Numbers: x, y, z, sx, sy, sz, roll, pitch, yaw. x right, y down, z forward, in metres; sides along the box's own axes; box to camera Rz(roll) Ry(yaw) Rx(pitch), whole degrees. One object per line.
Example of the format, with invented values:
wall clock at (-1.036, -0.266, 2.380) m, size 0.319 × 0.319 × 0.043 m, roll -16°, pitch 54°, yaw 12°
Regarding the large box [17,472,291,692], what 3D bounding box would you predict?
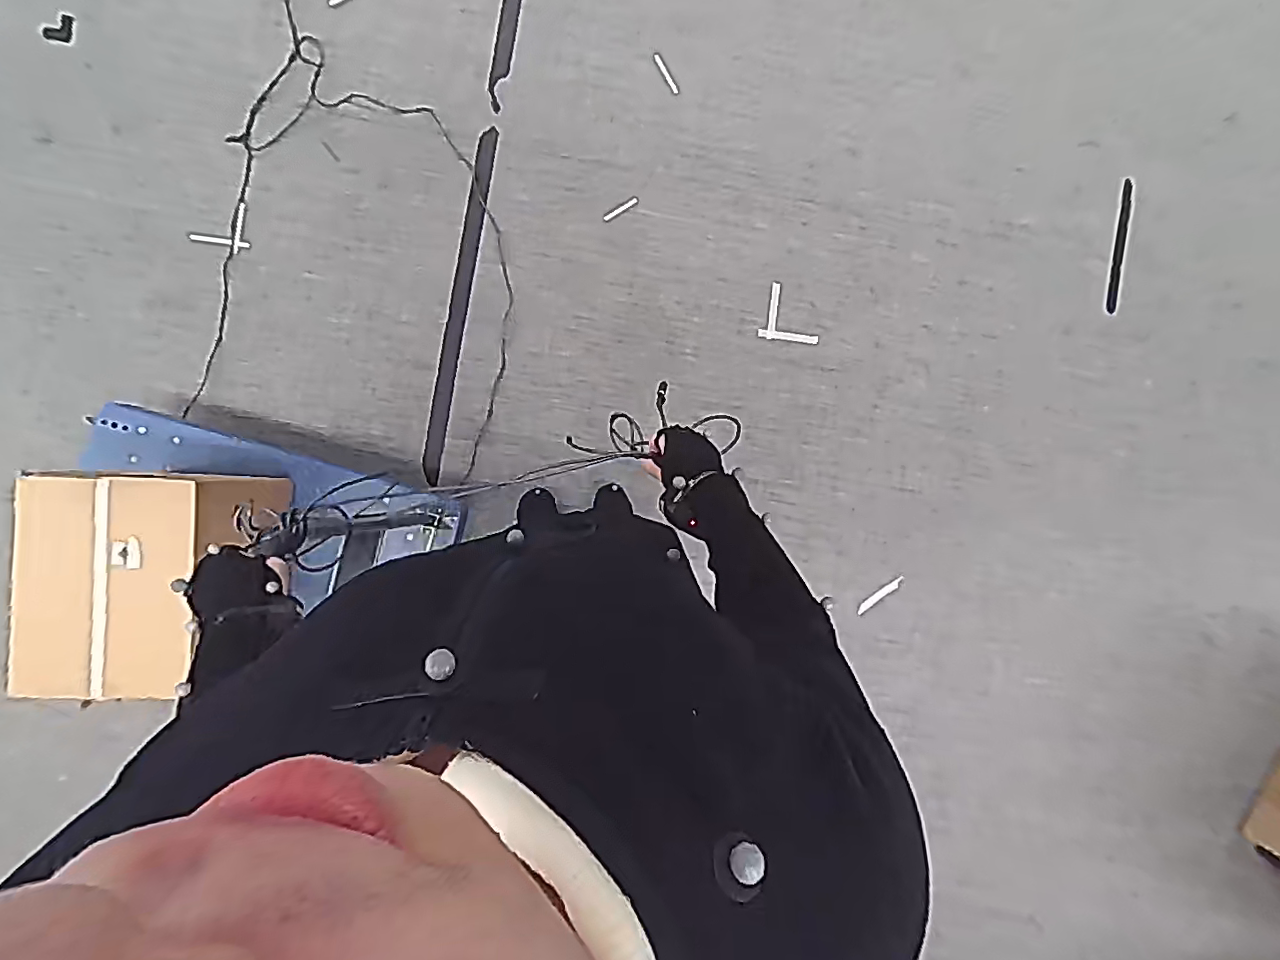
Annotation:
large box at (-0.973, 0.189, 1.129) m, size 0.320 × 0.320 × 0.408 m, roll 2°, pitch 90°, yaw -4°
